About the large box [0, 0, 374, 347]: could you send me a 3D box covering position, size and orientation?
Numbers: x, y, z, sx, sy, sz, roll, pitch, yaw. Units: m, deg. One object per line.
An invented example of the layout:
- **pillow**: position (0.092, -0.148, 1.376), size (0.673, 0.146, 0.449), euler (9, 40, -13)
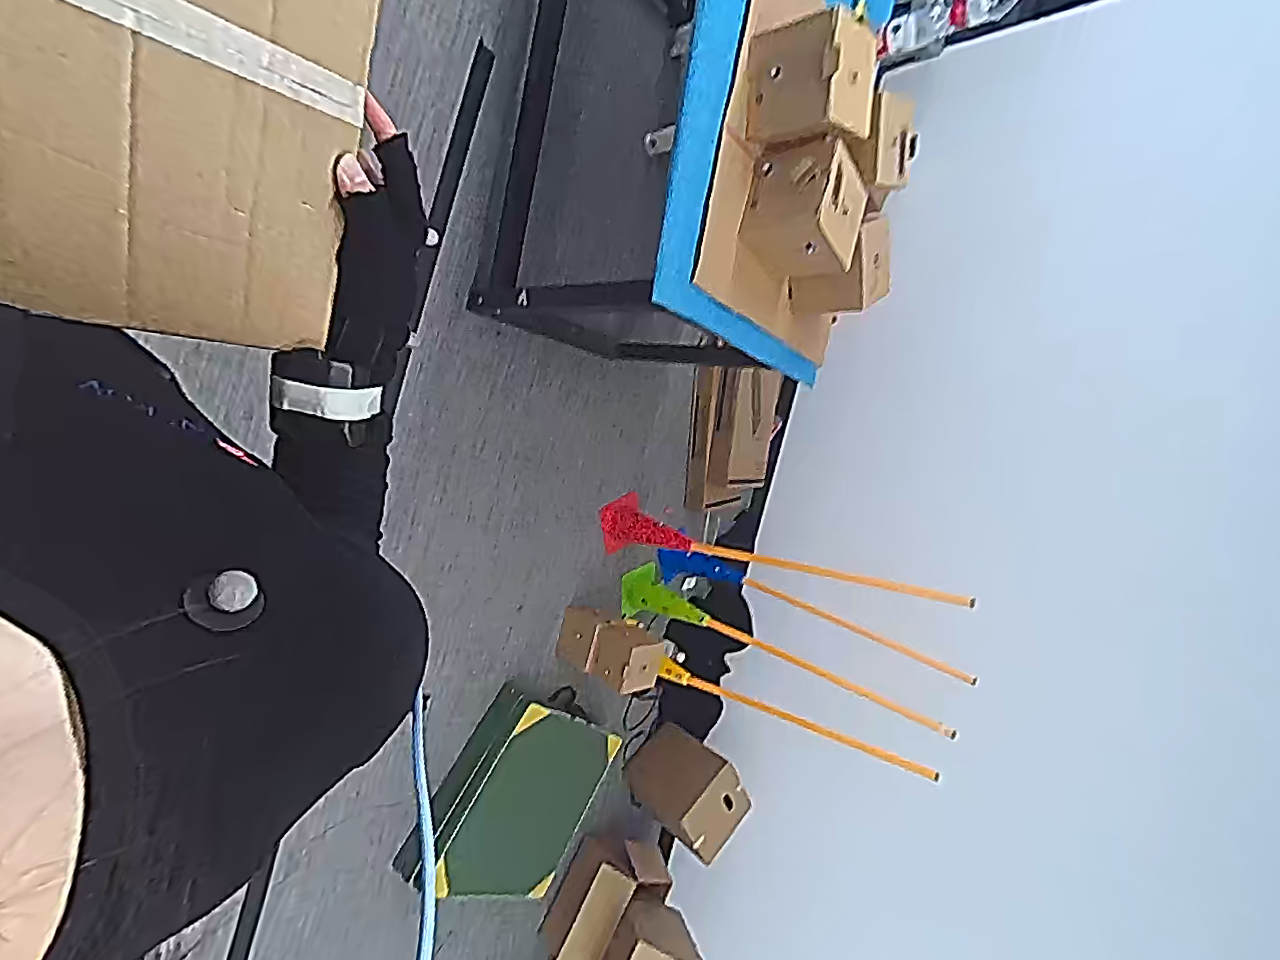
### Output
- **large box**: position (-0.409, -0.298, 0.288), size (0.408, 0.320, 0.320), euler (0, 122, -45)
